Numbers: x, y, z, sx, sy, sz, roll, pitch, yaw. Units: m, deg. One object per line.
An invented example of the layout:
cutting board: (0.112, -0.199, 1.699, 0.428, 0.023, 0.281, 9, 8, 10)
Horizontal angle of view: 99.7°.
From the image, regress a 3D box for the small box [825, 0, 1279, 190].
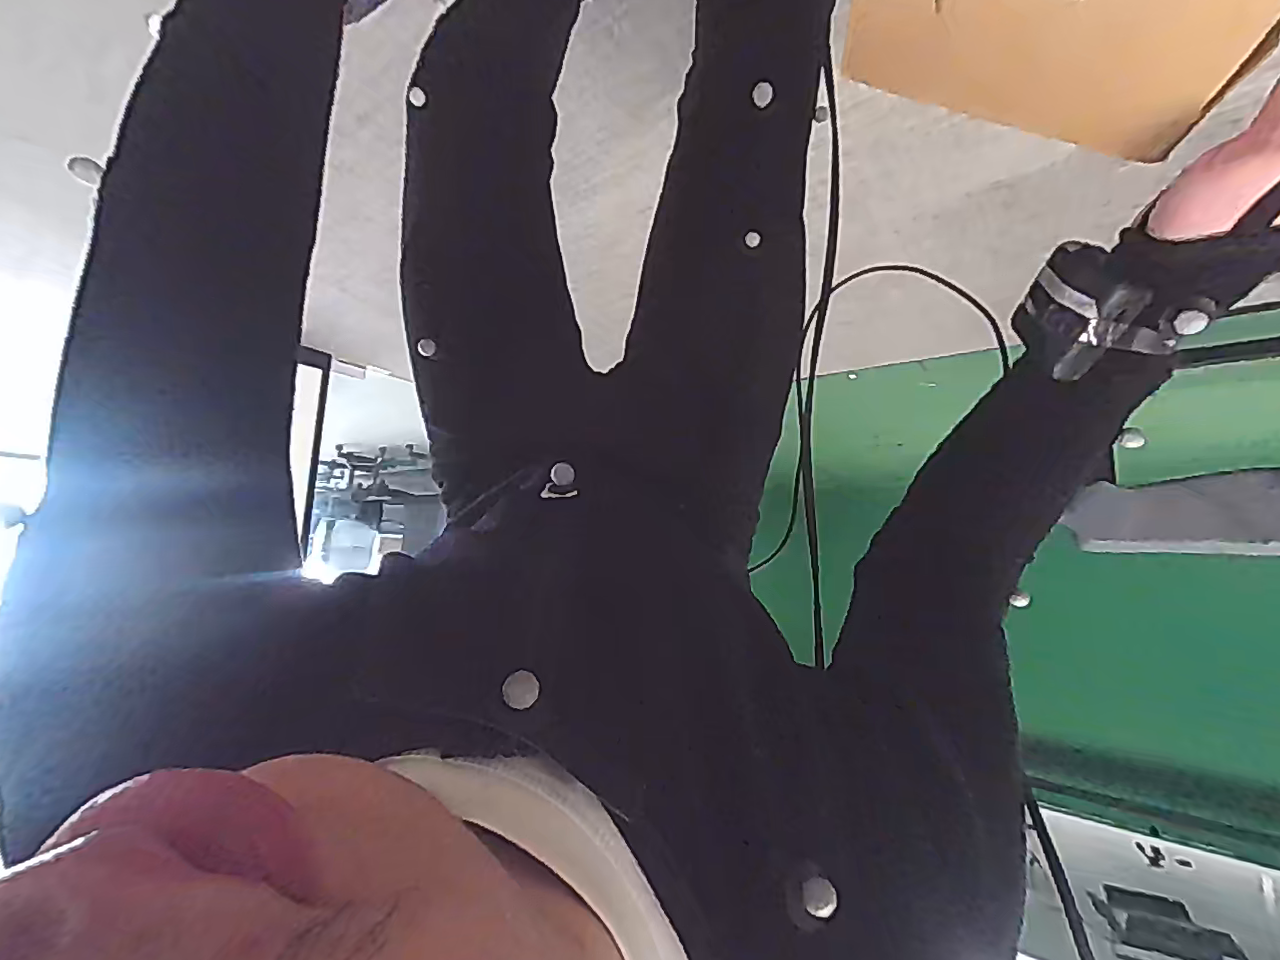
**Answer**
small box: (0.212, -0.275, 0.231, 0.179, 0.176, 0.168, 31, 172, 15)
